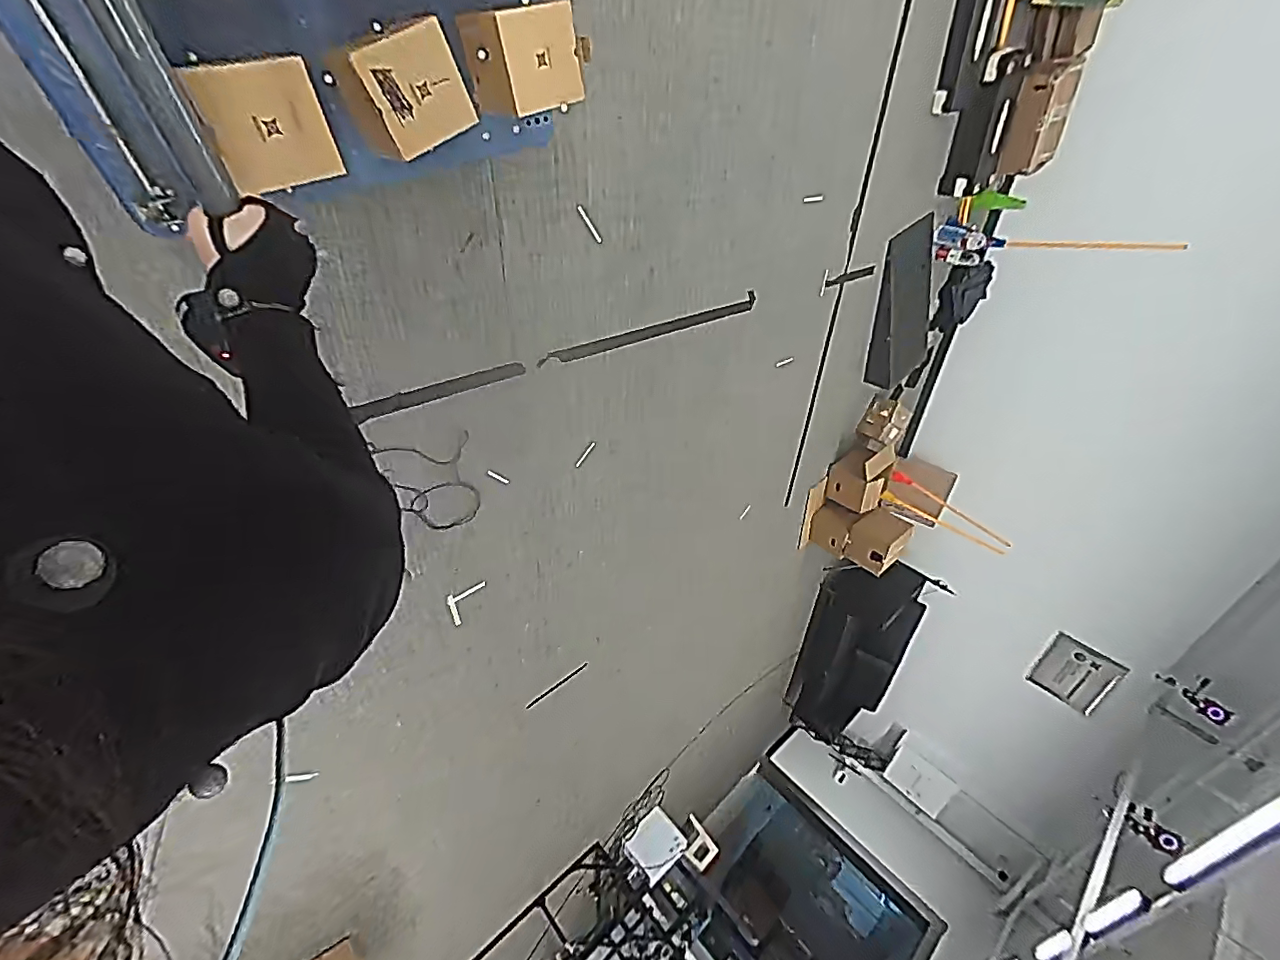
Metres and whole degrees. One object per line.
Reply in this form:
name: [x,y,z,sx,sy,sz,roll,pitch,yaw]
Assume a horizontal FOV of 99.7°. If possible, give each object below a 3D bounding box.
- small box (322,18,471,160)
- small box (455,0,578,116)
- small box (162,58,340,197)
small box: [-0.458,-0.725,1.008,0.179,0.176,0.168,-43,142,-19]
small box: [-0.260,-0.874,1.125,0.179,0.176,0.168,-36,139,-26]
small box: [-0.646,-0.588,0.898,0.179,0.176,0.168,-34,139,-29]
